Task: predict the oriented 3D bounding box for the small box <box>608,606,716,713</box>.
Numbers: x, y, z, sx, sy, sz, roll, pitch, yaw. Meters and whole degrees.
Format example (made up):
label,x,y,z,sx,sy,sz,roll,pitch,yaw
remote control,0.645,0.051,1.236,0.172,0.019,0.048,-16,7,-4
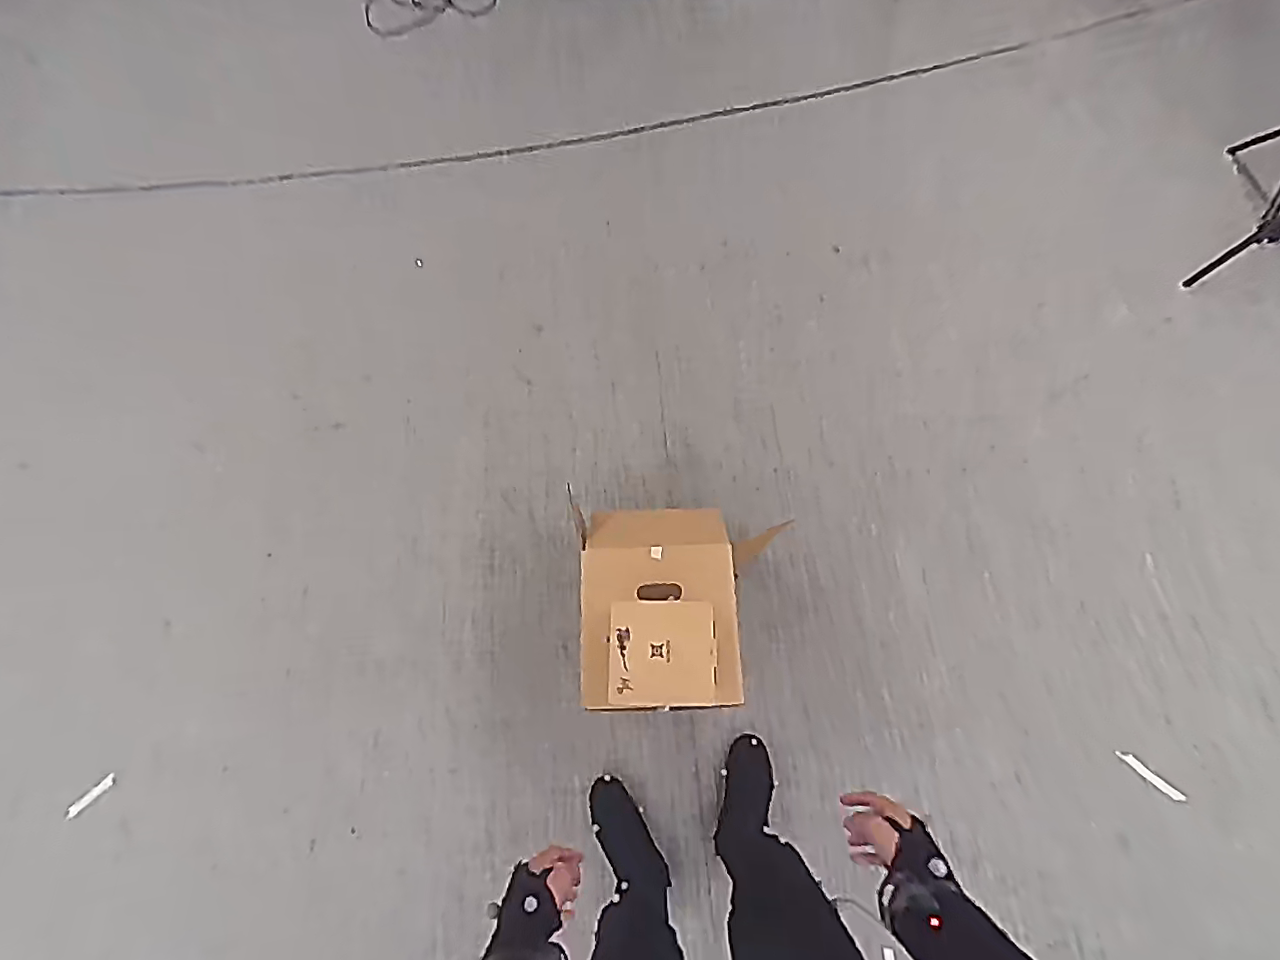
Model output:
label,x,y,z,sx,sy,sz,roll,pitch,yaw
small box,0.038,0.315,0.968,0.179,0.176,0.168,1,73,2
